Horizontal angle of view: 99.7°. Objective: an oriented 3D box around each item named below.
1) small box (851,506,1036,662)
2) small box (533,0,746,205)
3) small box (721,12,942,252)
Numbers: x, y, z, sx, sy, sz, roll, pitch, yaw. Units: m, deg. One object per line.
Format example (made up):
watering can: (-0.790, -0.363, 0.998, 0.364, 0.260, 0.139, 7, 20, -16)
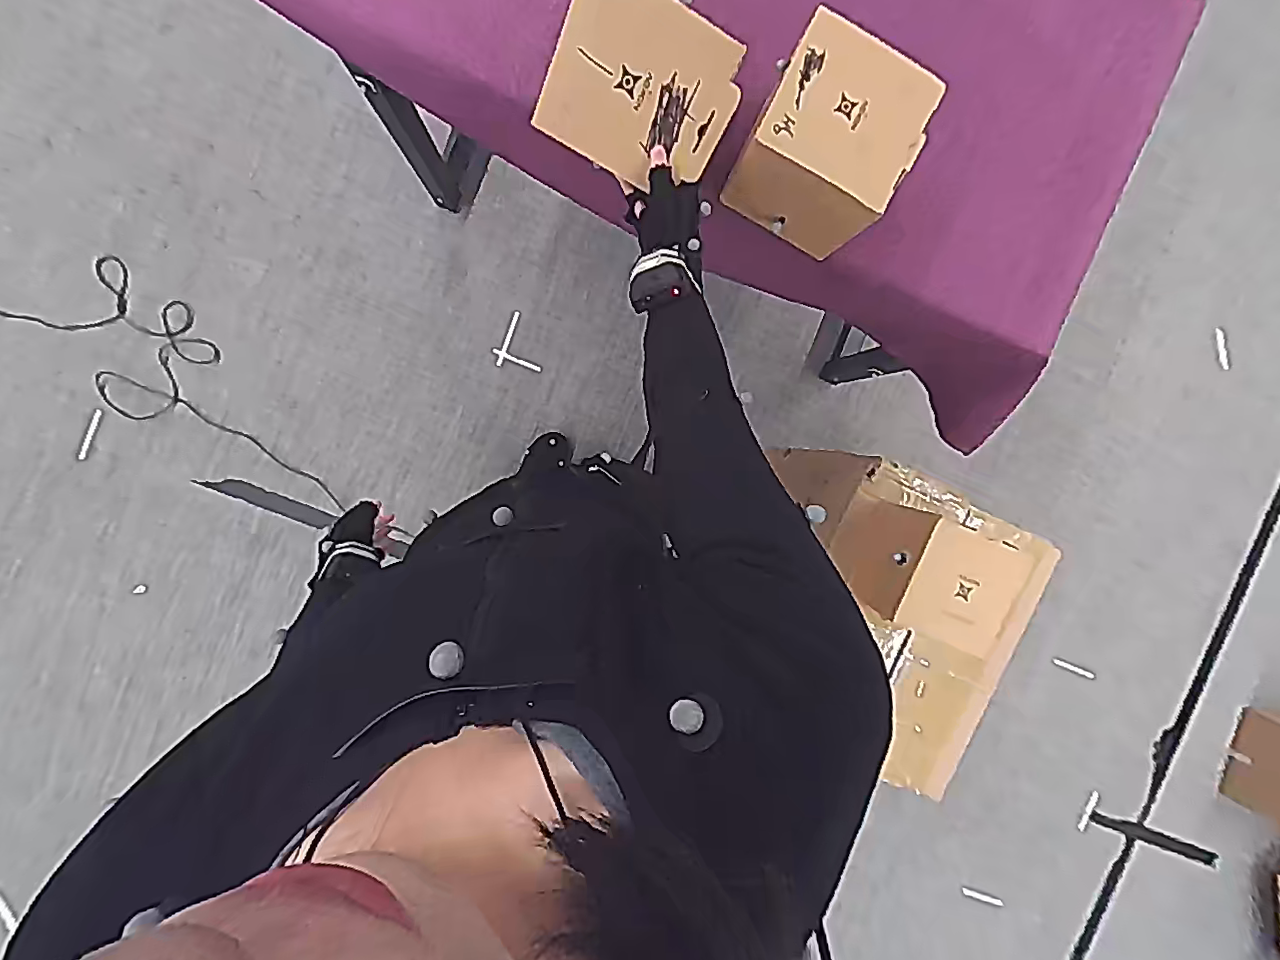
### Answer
small box: (0.470, 0.154, 0.868, 0.168, 0.176, 0.179, 22, 93, -4)
small box: (-0.001, -0.460, 0.634, 0.179, 0.176, 0.168, 24, 122, -14)
small box: (0.231, -0.422, 0.696, 0.179, 0.176, 0.168, 26, 90, -8)
